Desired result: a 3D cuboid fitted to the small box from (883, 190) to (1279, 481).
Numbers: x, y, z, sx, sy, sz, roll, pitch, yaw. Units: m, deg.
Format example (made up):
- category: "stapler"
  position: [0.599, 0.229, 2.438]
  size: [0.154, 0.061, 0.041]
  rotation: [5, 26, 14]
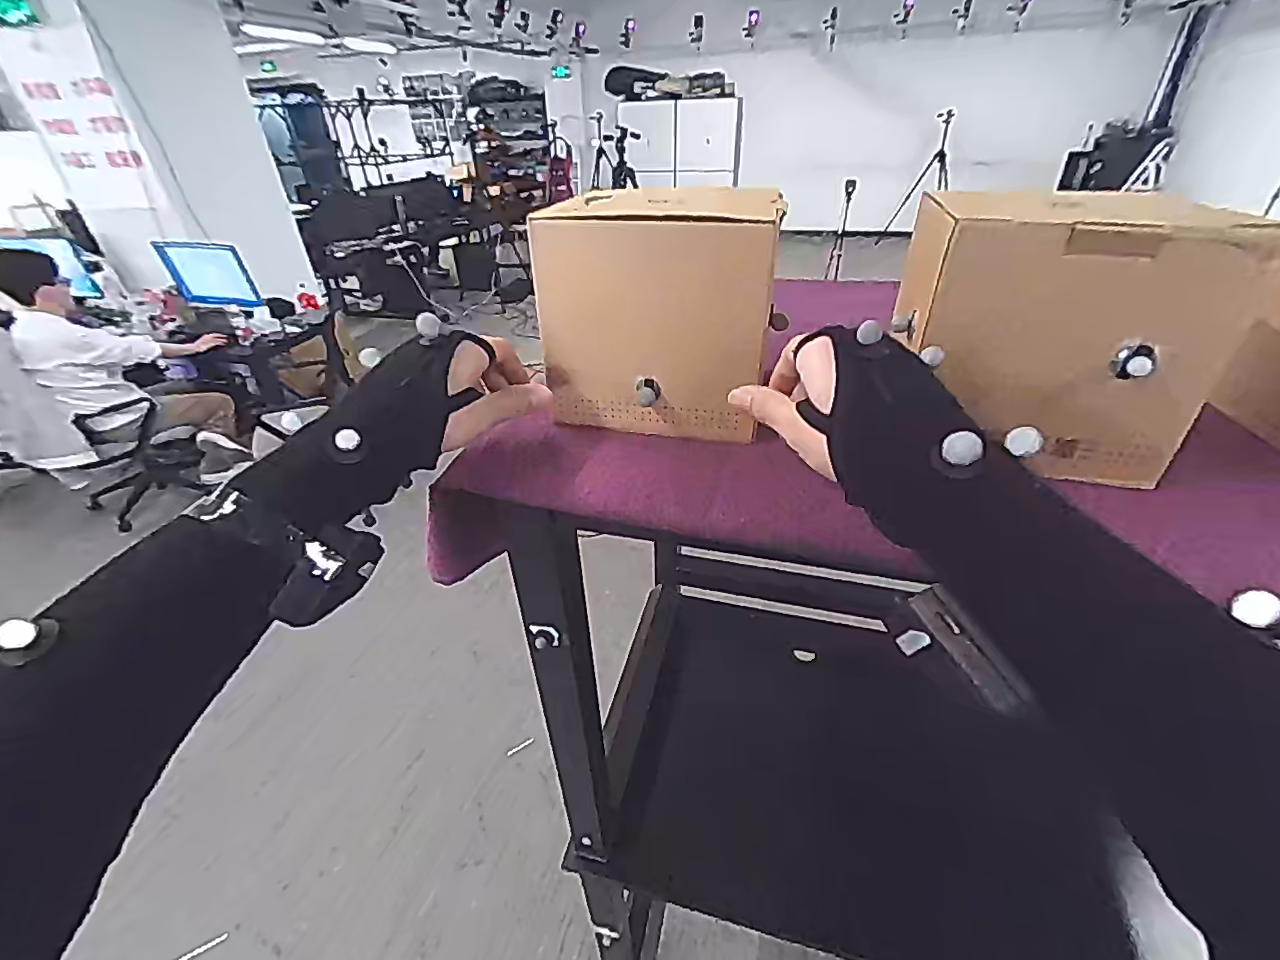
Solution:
- category: "small box"
  position: [0.291, -0.117, 0.409]
  size: [0.168, 0.176, 0.179]
  rotation: [9, 33, 15]
